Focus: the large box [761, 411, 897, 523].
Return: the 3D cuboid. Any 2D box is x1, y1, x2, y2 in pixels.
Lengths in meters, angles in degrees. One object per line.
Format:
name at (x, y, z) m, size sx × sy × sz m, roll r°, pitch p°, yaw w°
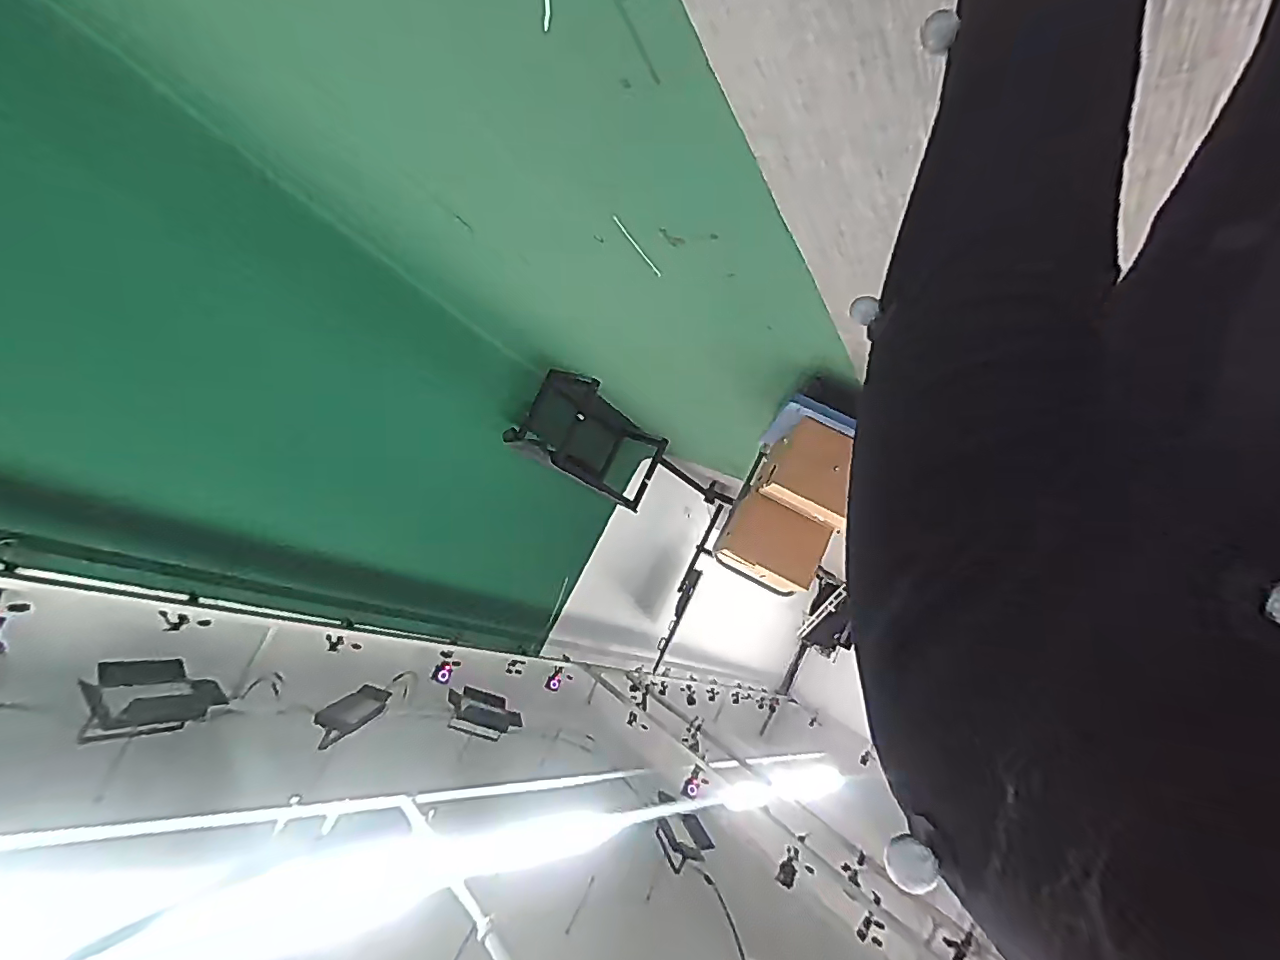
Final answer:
large box at (0.779, -0.048, 2.278) m, size 0.408 × 0.320 × 0.320 m, roll 26°, pitch 176°, yaw 4°
